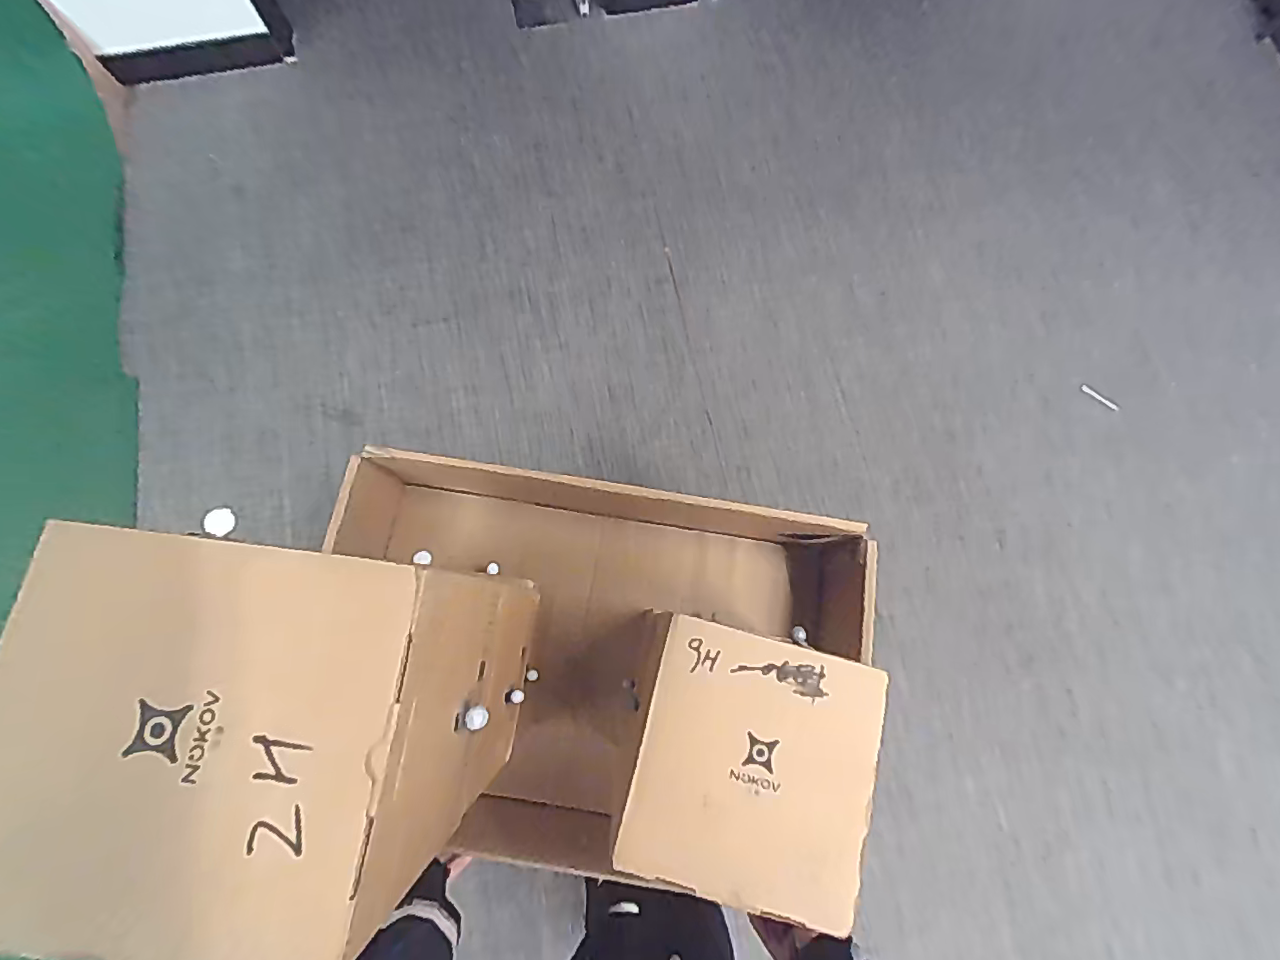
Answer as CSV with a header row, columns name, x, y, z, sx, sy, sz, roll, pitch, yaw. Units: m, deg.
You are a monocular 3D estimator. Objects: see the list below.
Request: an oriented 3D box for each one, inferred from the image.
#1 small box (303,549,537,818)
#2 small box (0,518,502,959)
name,x,y,z,sx,sy,sz,roll,pitch,yaw
small box,-0.200,0.162,0.469,0.179,0.176,0.168,9,77,-1
small box,-0.194,0.126,0.309,0.179,0.176,0.168,8,77,-1
